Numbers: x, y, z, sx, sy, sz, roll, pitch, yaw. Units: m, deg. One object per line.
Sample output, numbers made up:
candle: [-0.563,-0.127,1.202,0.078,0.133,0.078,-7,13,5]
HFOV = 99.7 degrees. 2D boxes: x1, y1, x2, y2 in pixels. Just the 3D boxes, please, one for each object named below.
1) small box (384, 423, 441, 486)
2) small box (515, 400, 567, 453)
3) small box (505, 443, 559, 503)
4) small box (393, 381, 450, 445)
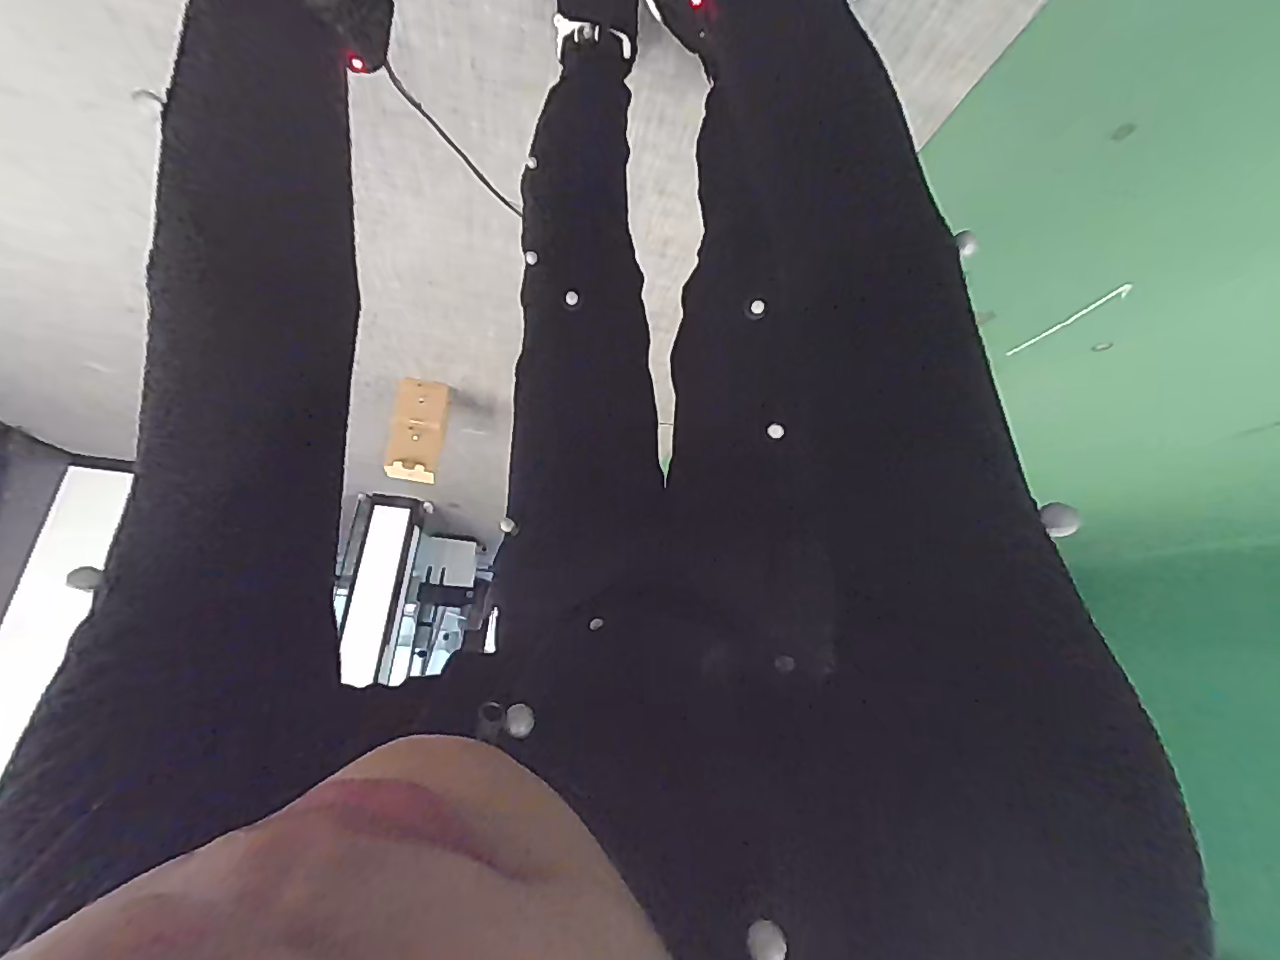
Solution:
small box: [-0.829,-0.092,1.981,0.168,0.176,0.179,10,161,-18]
small box: [-0.389,-0.198,2.121,0.168,0.176,0.179,12,162,-16]
small box: [-0.414,-0.026,2.078,0.168,0.176,0.179,11,161,-16]
small box: [-0.812,-0.251,2.023,0.168,0.176,0.179,10,161,-13]
